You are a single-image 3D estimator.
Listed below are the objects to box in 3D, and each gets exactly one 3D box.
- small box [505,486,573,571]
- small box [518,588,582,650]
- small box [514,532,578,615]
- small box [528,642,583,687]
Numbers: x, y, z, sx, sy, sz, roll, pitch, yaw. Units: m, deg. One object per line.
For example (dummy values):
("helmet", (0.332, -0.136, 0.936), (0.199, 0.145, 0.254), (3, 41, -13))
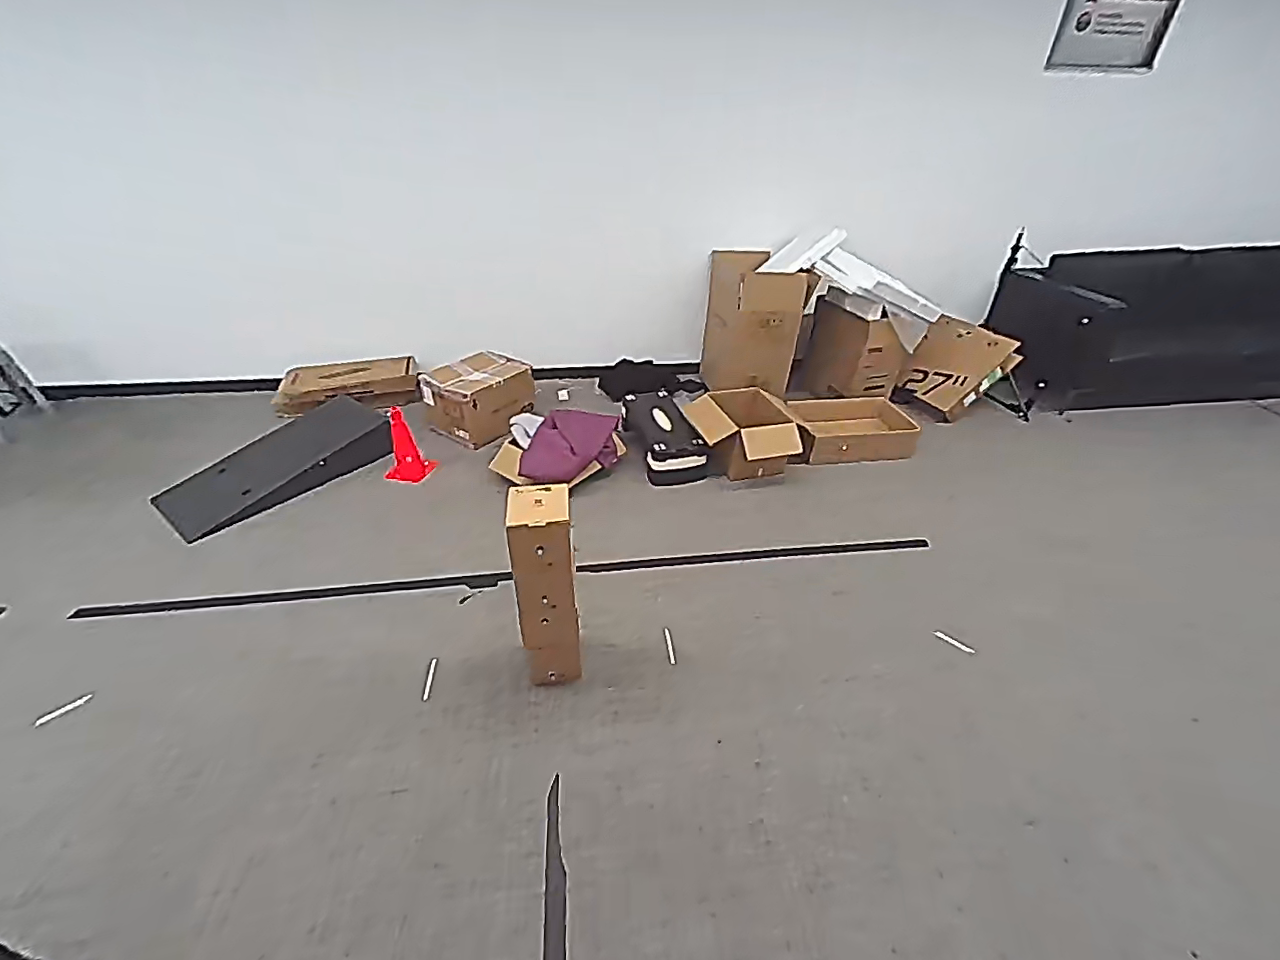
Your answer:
("small box", (-0.275, 0.140, 1.504), (0.168, 0.176, 0.179), (-4, 35, -6))
("small box", (-0.278, 0.412, 1.689), (0.179, 0.176, 0.168), (-4, 35, -7))
("small box", (-0.273, 0.274, 1.598), (0.168, 0.176, 0.179), (-3, 35, -4))
("small box", (-0.280, 0.549, 1.780), (0.168, 0.176, 0.179), (-7, 36, -10))
